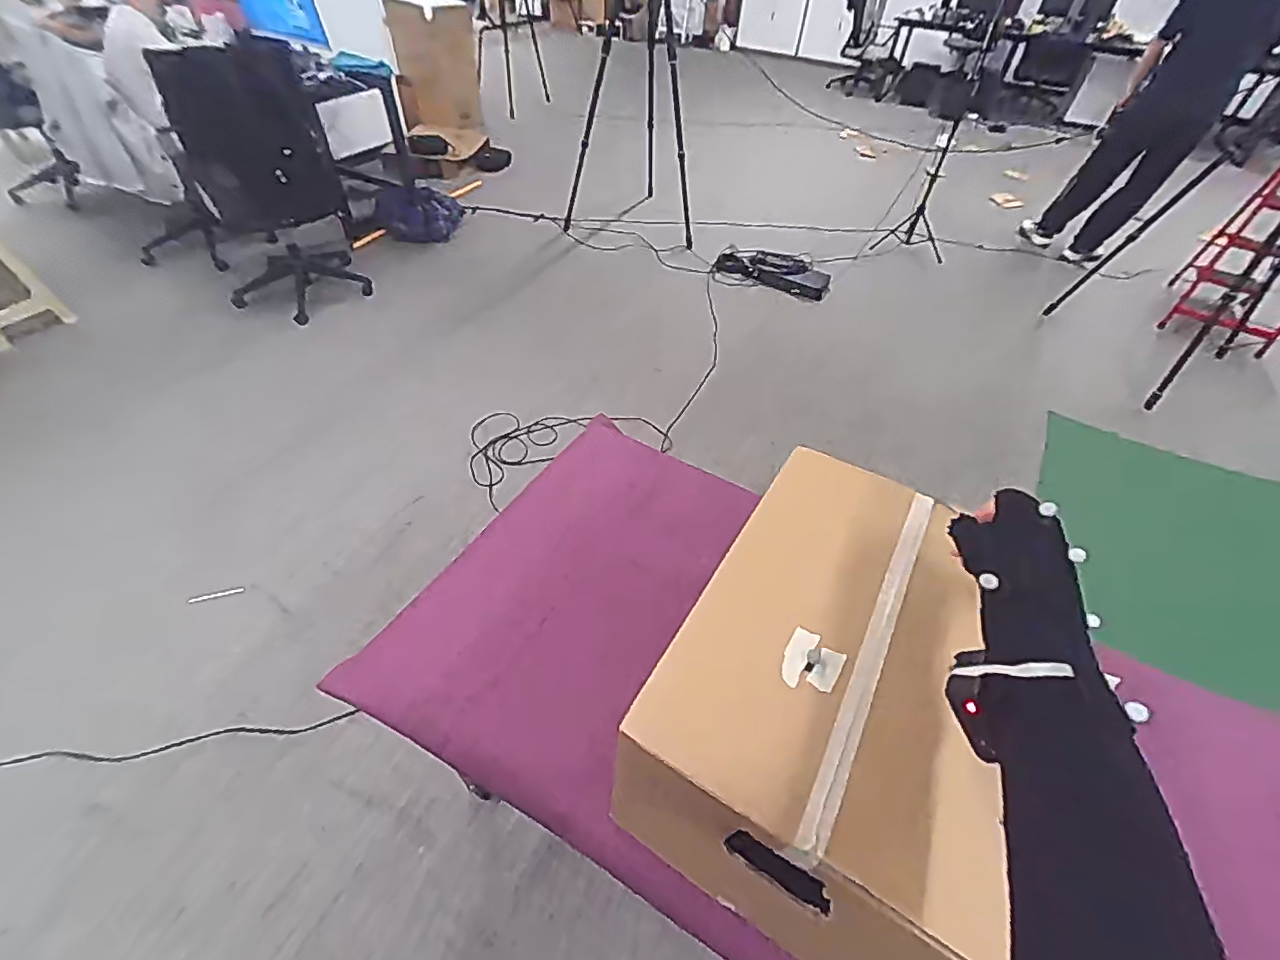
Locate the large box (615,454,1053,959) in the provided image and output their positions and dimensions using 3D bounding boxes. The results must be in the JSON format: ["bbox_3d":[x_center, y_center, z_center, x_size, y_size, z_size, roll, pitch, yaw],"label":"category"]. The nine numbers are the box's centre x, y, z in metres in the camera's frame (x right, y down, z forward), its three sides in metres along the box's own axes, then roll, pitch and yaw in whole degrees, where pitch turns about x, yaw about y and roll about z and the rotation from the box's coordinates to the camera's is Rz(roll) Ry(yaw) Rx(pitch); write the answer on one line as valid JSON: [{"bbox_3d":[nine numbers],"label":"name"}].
[{"bbox_3d":[0.207,0.249,0.626,0.320,0.320,0.408,27,51,19],"label":"large box"}]
